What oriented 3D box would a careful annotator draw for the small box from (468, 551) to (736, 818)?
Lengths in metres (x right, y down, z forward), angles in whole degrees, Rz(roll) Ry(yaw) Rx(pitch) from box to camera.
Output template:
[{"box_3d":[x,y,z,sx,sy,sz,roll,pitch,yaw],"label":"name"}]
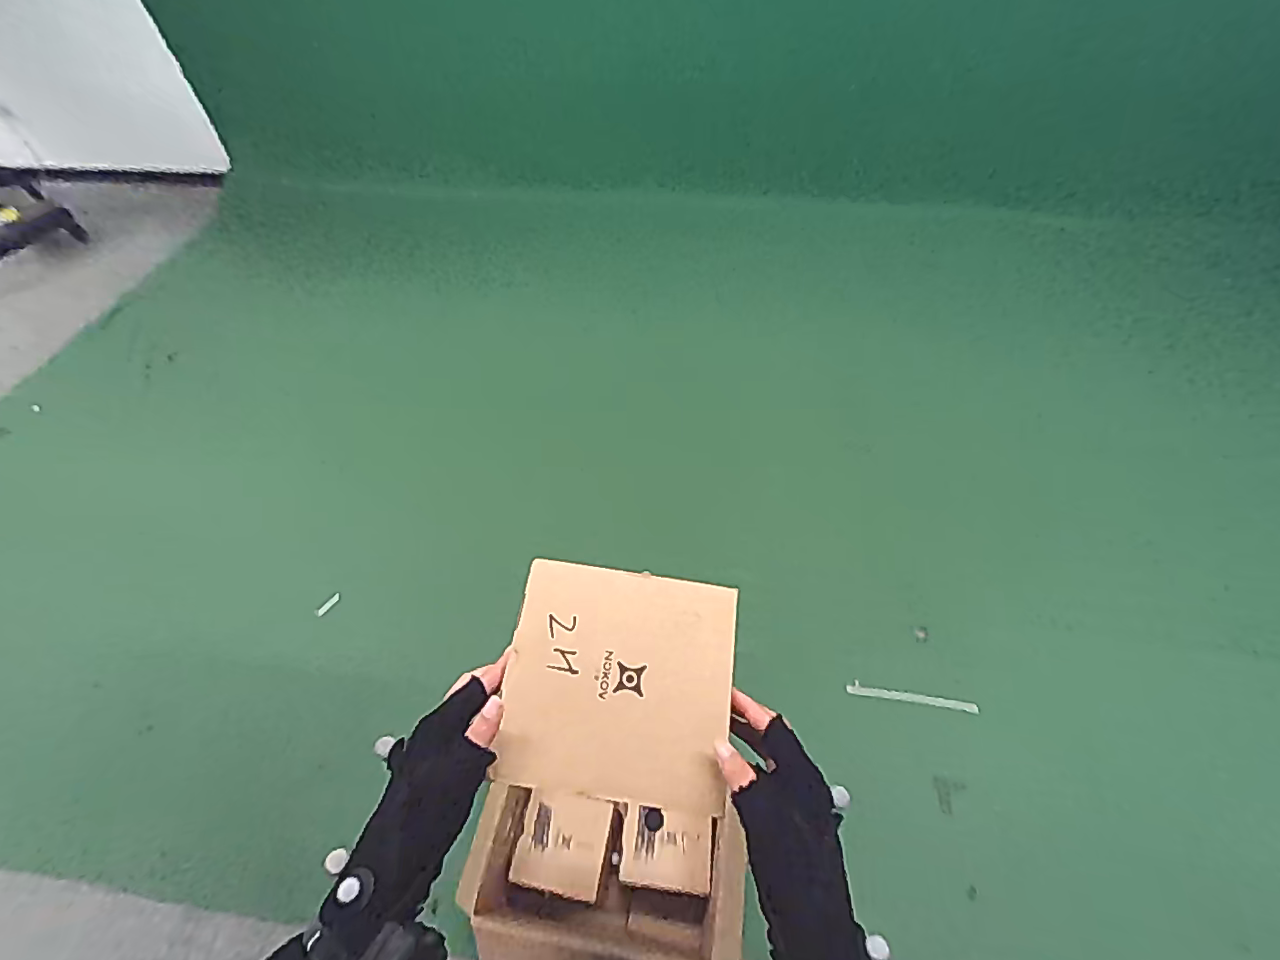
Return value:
[{"box_3d":[-0.024,0.178,0.472,0.179,0.176,0.168,8,63,2],"label":"small box"}]
